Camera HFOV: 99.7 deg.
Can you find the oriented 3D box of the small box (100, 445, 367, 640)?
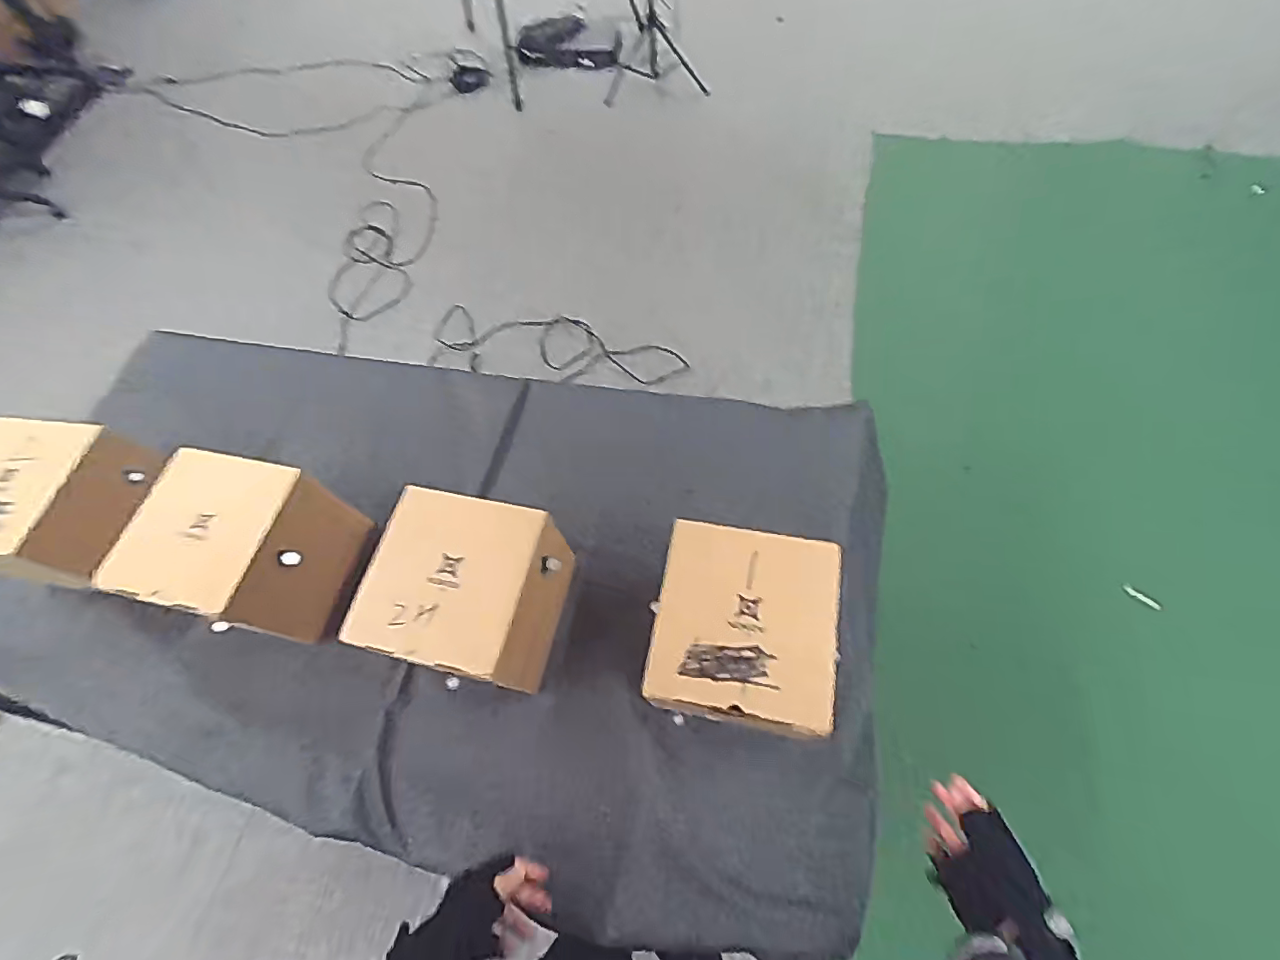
[{"bbox_3d":[-0.476,0.083,0.671,0.168,0.176,0.179,10,66,9],"label":"small box"}]

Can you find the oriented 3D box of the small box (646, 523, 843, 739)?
[{"bbox_3d":[0.109,0.168,0.582,0.168,0.176,0.179,9,65,9],"label":"small box"}]

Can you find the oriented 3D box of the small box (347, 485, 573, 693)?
[{"bbox_3d":[-0.185,0.131,0.623,0.168,0.176,0.179,11,65,10],"label":"small box"}]
